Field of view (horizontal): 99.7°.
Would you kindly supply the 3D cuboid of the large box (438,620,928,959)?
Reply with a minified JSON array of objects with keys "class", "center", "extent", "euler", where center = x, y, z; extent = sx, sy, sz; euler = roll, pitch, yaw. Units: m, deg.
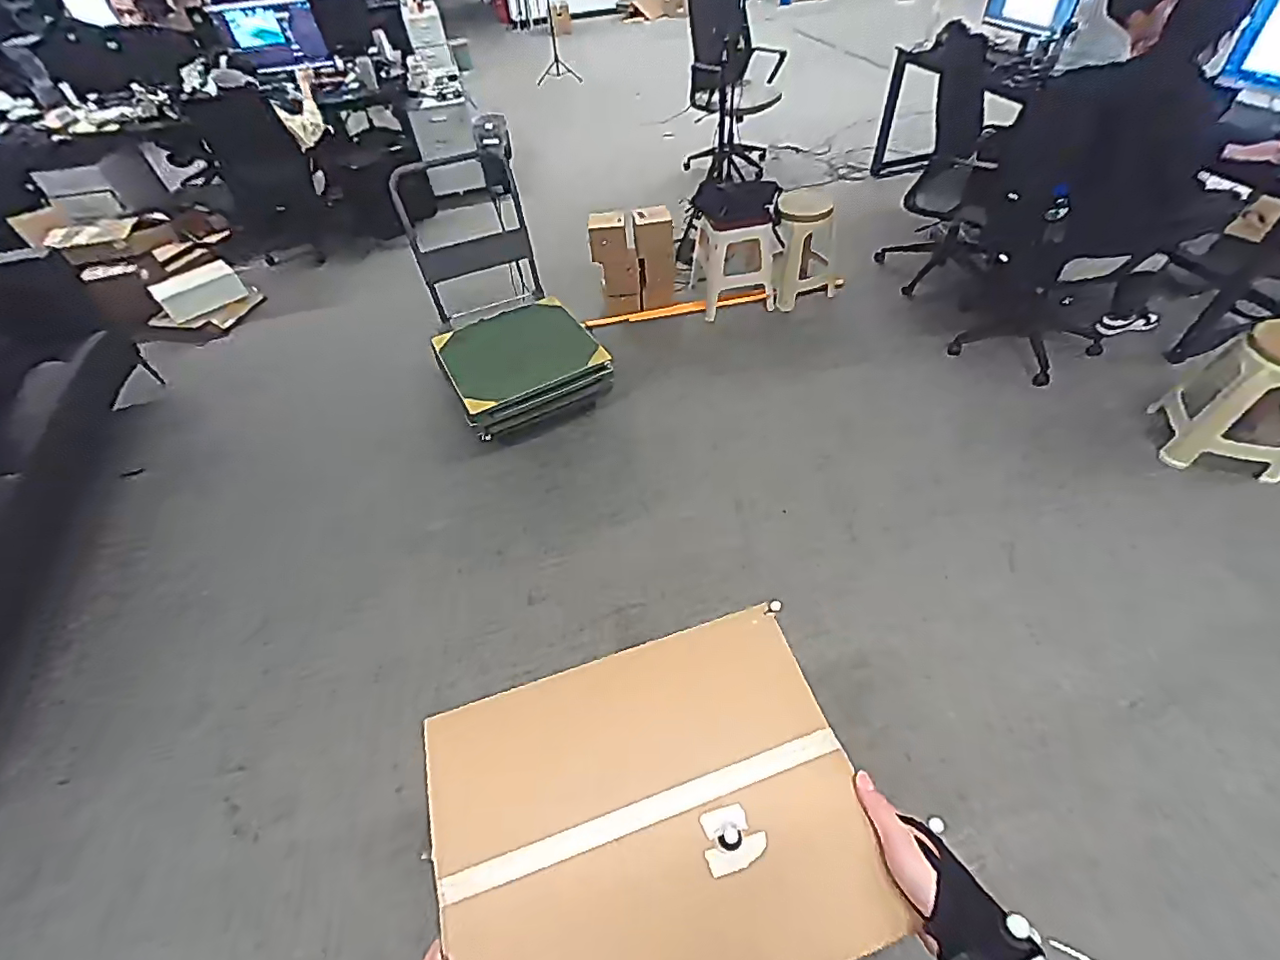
[{"class":"large box","center":[0.025,0.426,0.641],"extent":[0.408,0.320,0.320],"euler":[-17,55,-9]}]
